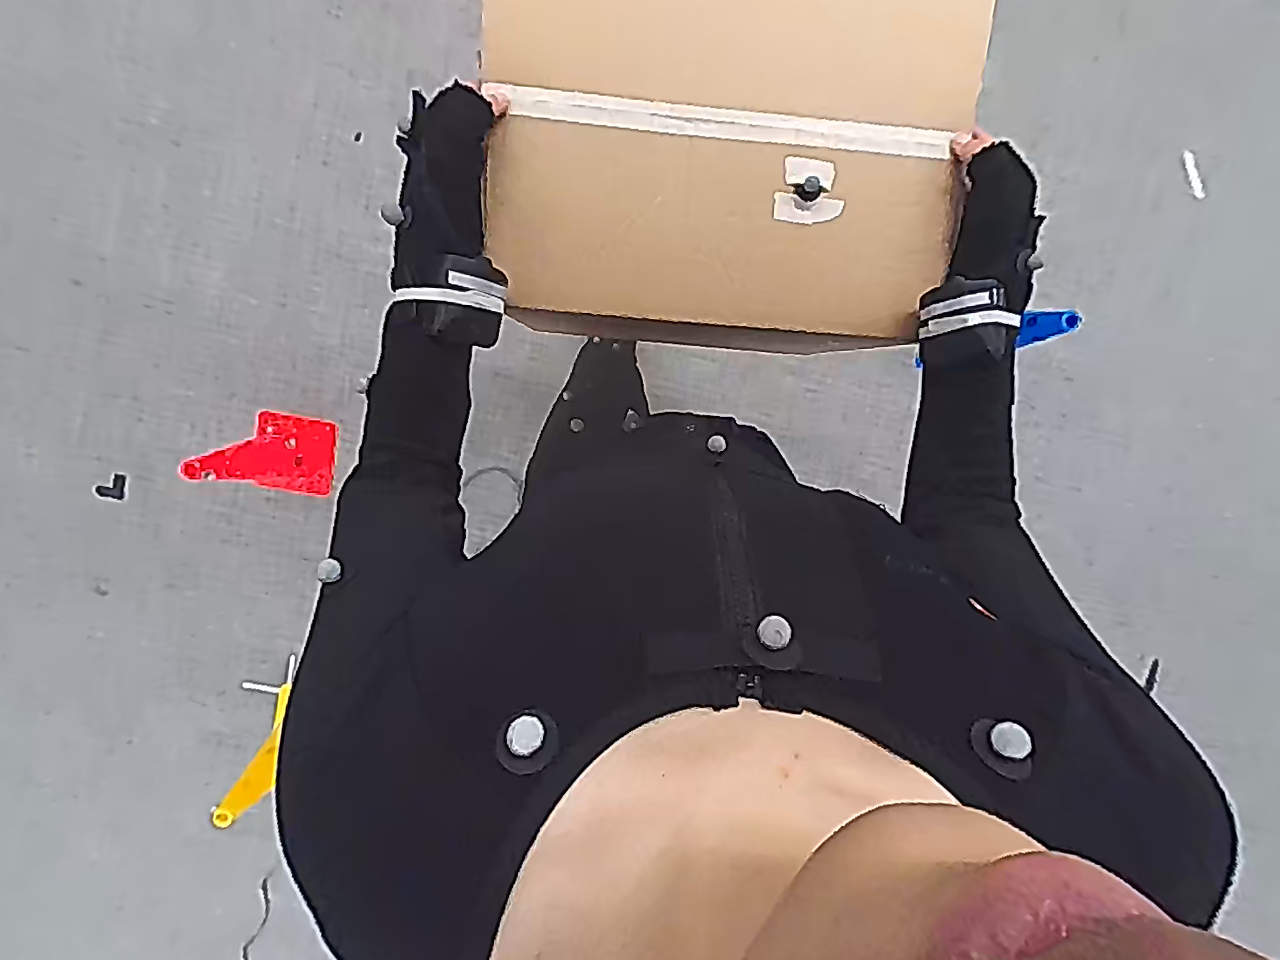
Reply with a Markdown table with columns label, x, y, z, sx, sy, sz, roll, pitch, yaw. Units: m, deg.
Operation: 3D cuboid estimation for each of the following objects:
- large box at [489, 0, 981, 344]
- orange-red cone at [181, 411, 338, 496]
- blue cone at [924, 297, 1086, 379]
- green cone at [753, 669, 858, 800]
| label | x | y | z | sx | sy | sz | roll | pitch | yaw |
| --- | --- | --- | --- | --- | --- | --- | --- | --- | --- |
| large box | 0.065 | -0.328 | 0.594 | 0.408 | 0.320 | 0.320 | 3 | 101 | -5 |
| orange-red cone | -0.885 | -0.039 | 1.231 | 0.198 | 0.360 | 0.199 | 11 | 99 | -3 |
| blue cone | 0.875 | -0.357 | 1.287 | 0.192 | 0.380 | 0.193 | 16 | 97 | -6 |
| green cone | 0.459 | 0.690 | 1.399 | 0.202 | 0.368 | 0.200 | -24 | 99 | -1 |
